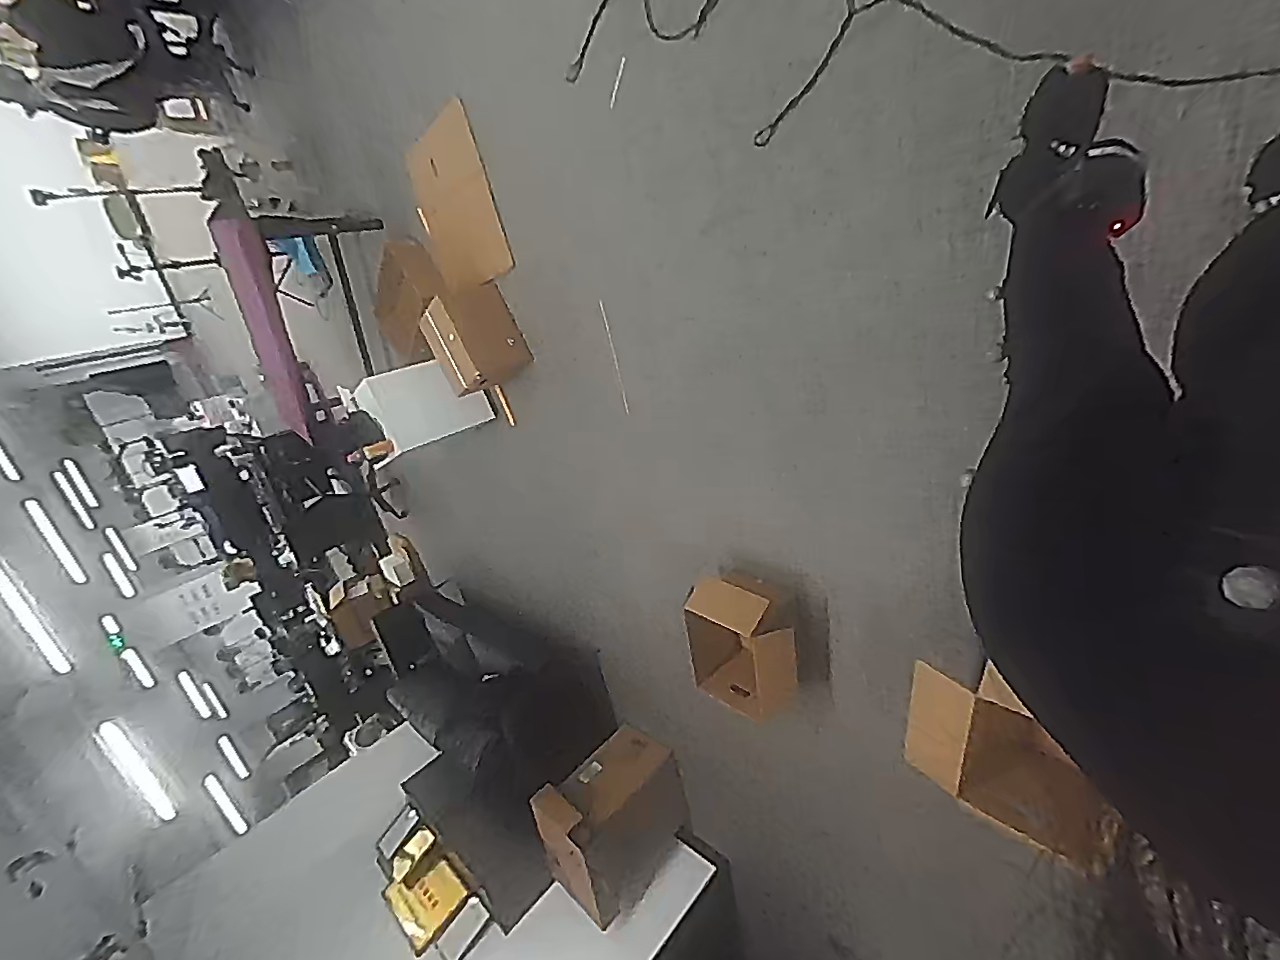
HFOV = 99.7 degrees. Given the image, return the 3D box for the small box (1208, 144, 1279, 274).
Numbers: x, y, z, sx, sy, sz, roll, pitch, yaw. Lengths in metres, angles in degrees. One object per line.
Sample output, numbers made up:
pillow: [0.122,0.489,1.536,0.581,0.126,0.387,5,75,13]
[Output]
small box: [1.074,-0.436,0.857,0.179,0.176,0.168,53,157,40]
